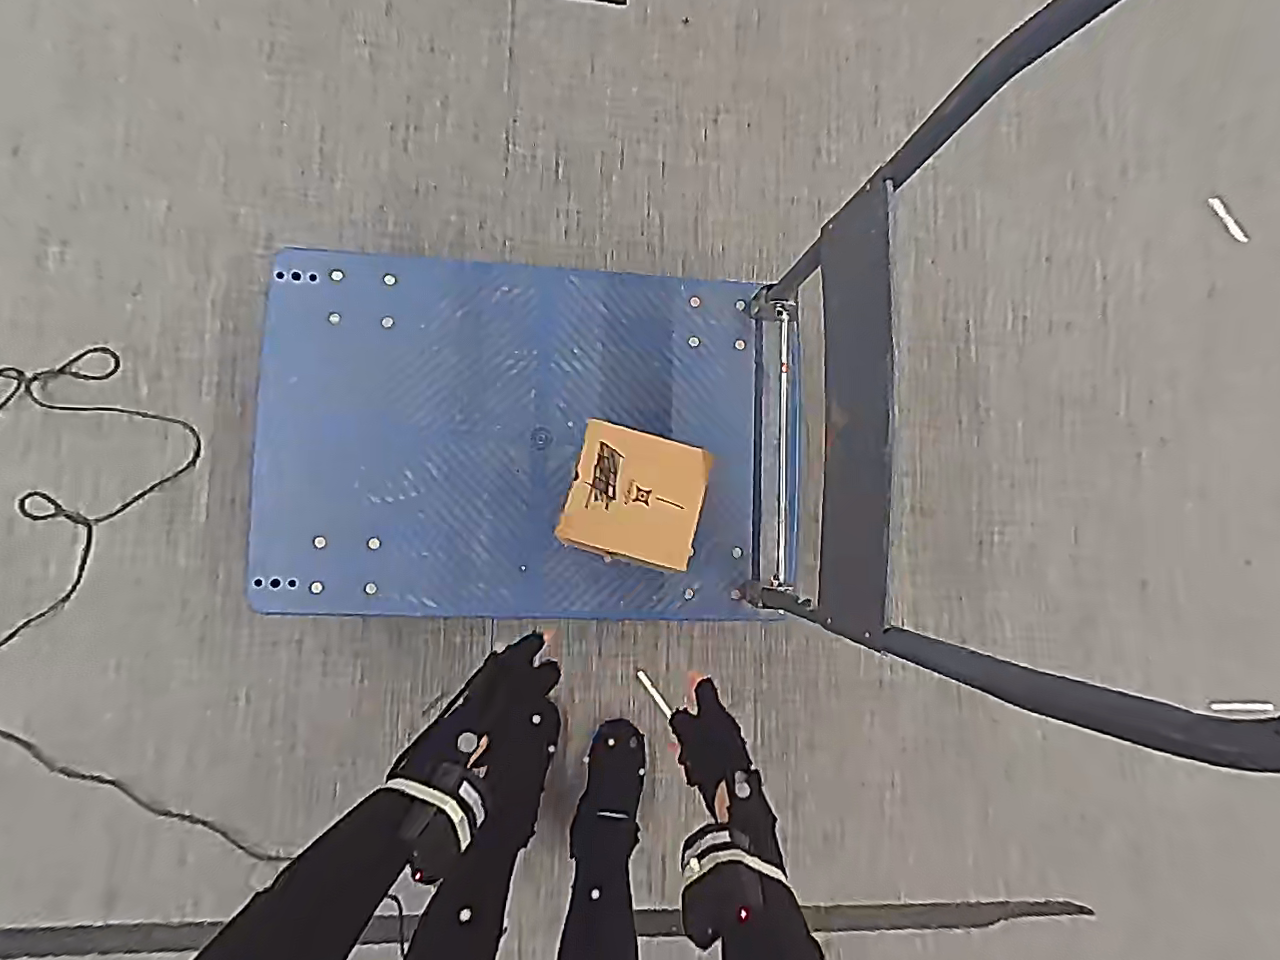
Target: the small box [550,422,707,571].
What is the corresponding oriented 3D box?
[{"bbox_3d":[-0.016,0.035,0.792,0.179,0.176,0.168,15,79,0],"label":"small box"}]
